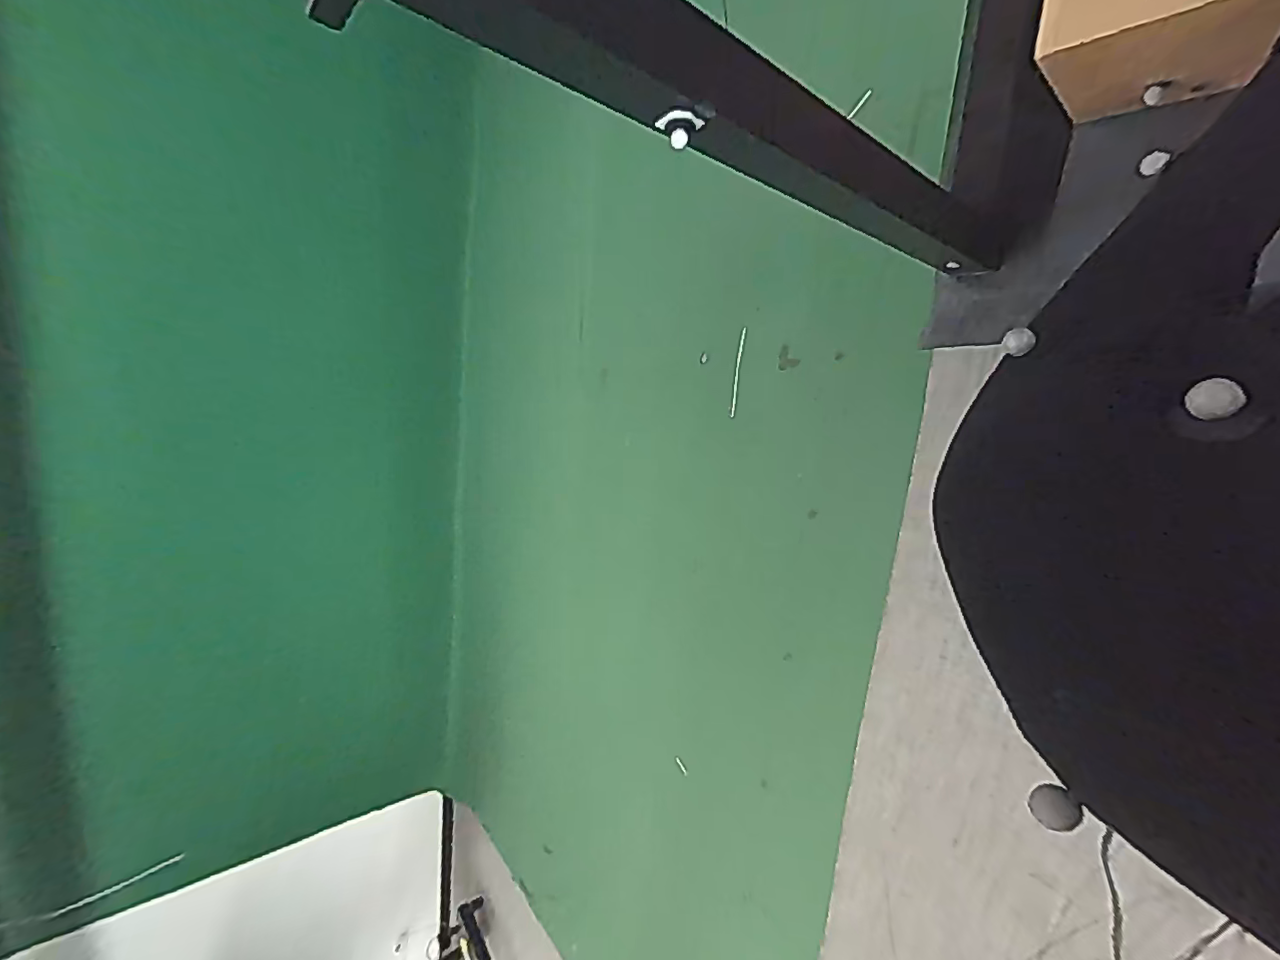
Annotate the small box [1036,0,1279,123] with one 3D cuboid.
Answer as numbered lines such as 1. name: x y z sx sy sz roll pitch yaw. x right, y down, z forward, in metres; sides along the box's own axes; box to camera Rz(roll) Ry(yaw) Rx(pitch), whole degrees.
1. small box: 0.498 -0.469 0.491 0.168 0.176 0.179 18 106 48
